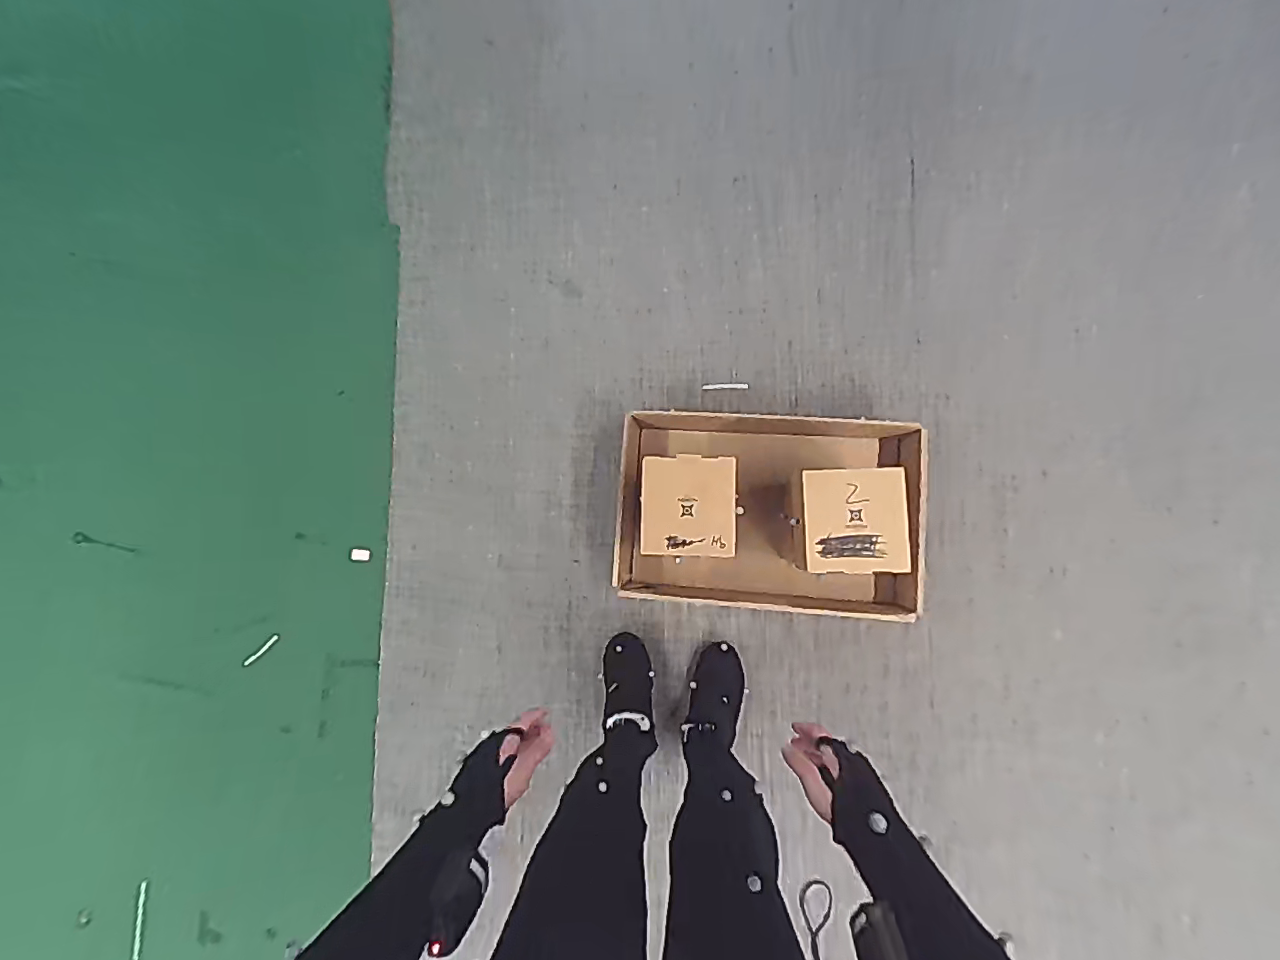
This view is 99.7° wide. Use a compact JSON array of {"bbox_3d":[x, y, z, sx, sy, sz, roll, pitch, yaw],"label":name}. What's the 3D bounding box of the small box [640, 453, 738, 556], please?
[{"bbox_3d":[0.095,0.050,1.012,0.168,0.176,0.179,1,83,9],"label":"small box"}]
